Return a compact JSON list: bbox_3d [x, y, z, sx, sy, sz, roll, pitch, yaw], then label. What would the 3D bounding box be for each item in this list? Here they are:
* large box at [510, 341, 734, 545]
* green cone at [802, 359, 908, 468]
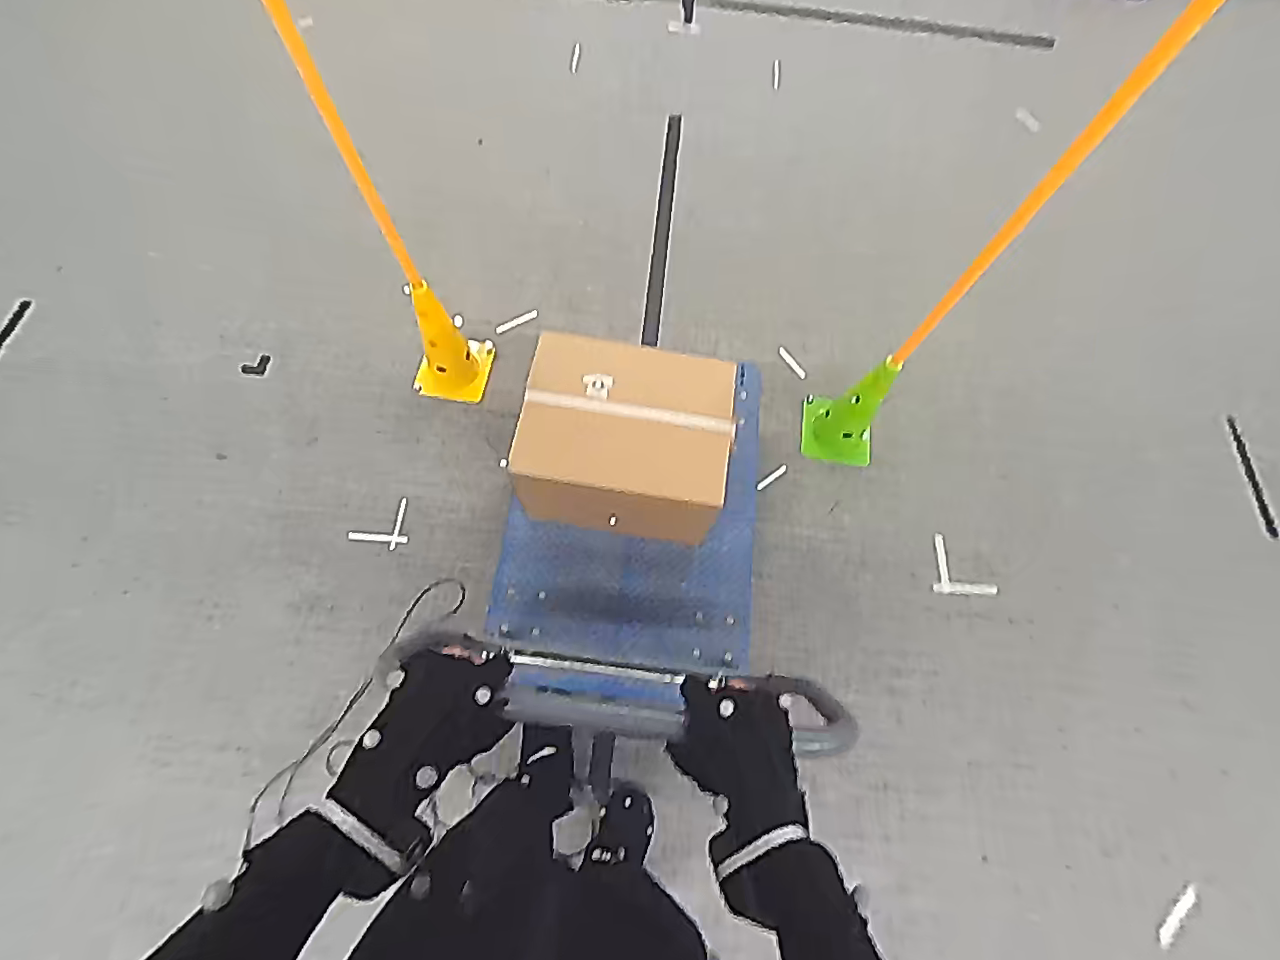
[{"bbox_3d":[-0.029,-0.063,1.187,0.408,0.320,0.320,9,69,1],"label":"large box"},{"bbox_3d":[0.591,-0.201,1.431,0.202,0.368,0.200,11,68,-1],"label":"green cone"}]
